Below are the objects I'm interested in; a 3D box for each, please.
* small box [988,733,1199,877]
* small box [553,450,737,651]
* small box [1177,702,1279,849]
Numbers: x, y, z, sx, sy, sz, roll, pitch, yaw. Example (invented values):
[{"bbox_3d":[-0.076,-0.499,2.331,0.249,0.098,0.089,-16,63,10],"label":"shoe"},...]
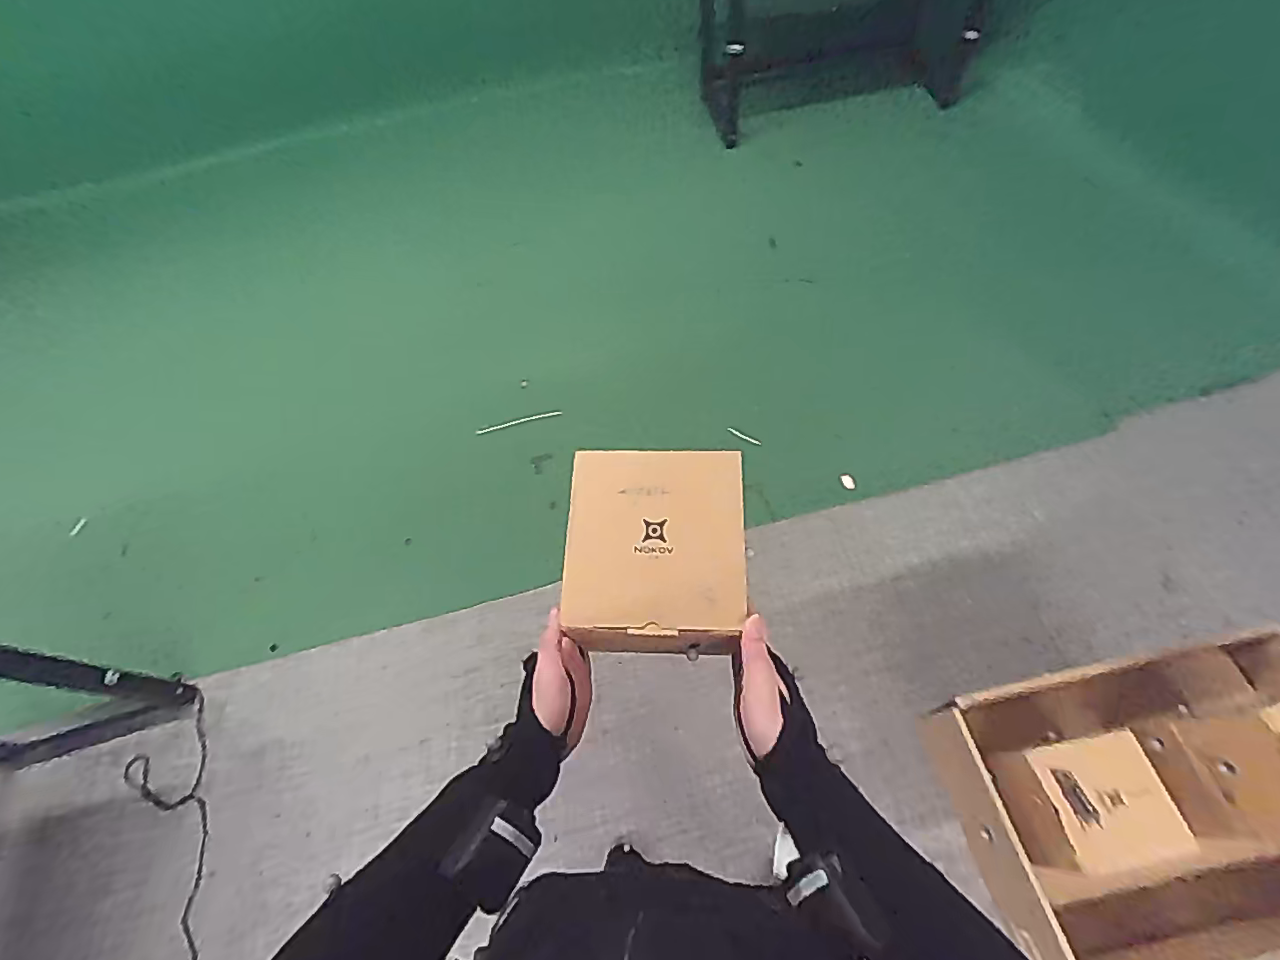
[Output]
[{"bbox_3d":[0.707,0.523,0.878,0.179,0.176,0.168,-10,60,-2],"label":"small box"},{"bbox_3d":[0.013,0.083,0.574,0.168,0.176,0.179,1,66,4],"label":"small box"},{"bbox_3d":[0.926,0.399,0.743,0.179,0.176,0.168,-13,60,1],"label":"small box"}]
